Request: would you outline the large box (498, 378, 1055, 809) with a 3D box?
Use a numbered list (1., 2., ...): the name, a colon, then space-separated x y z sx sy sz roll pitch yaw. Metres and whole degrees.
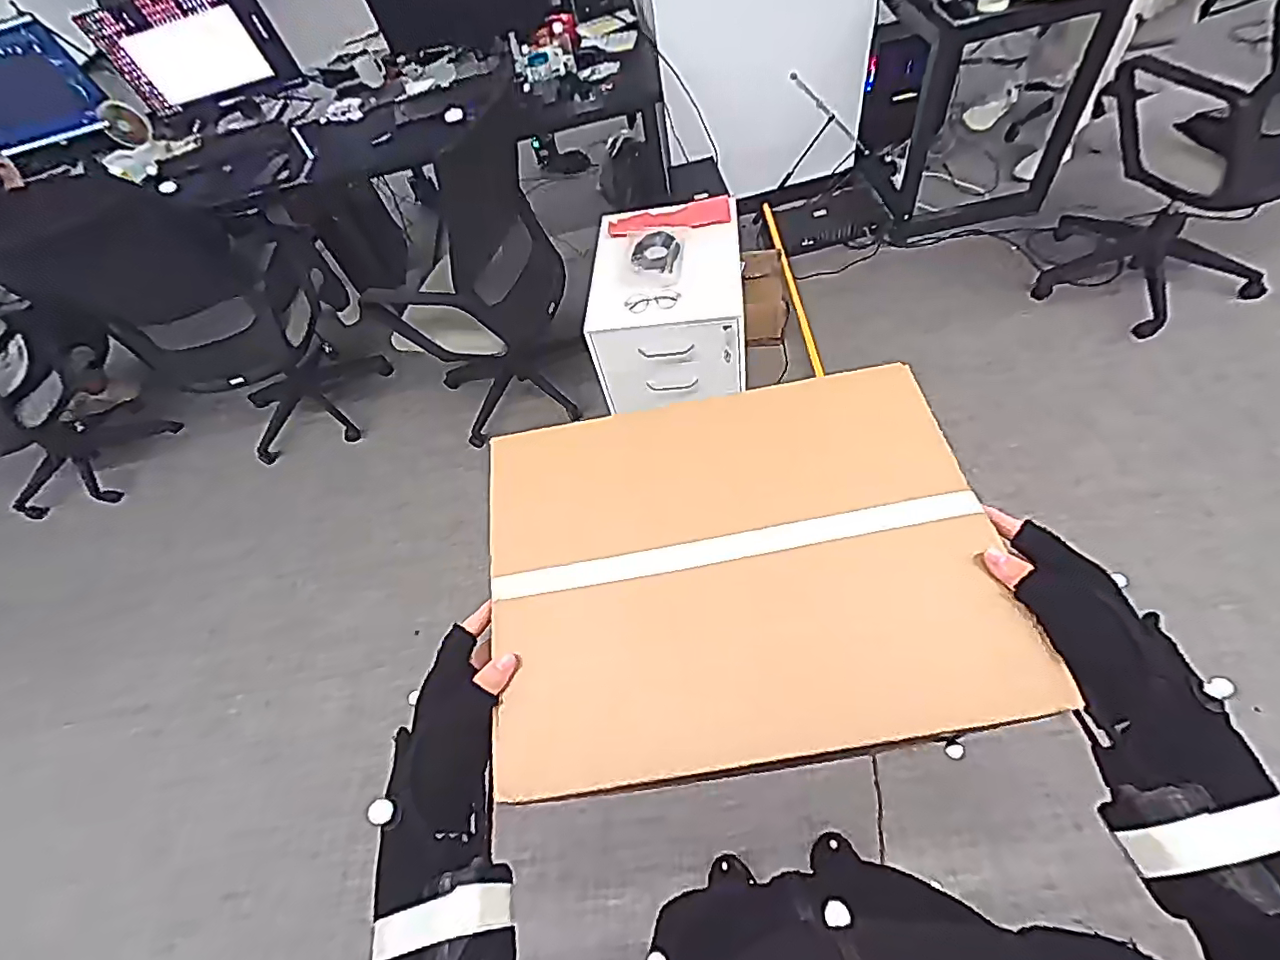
1. large box: 0.094 0.138 0.583 0.408 0.320 0.320 -10 59 1
